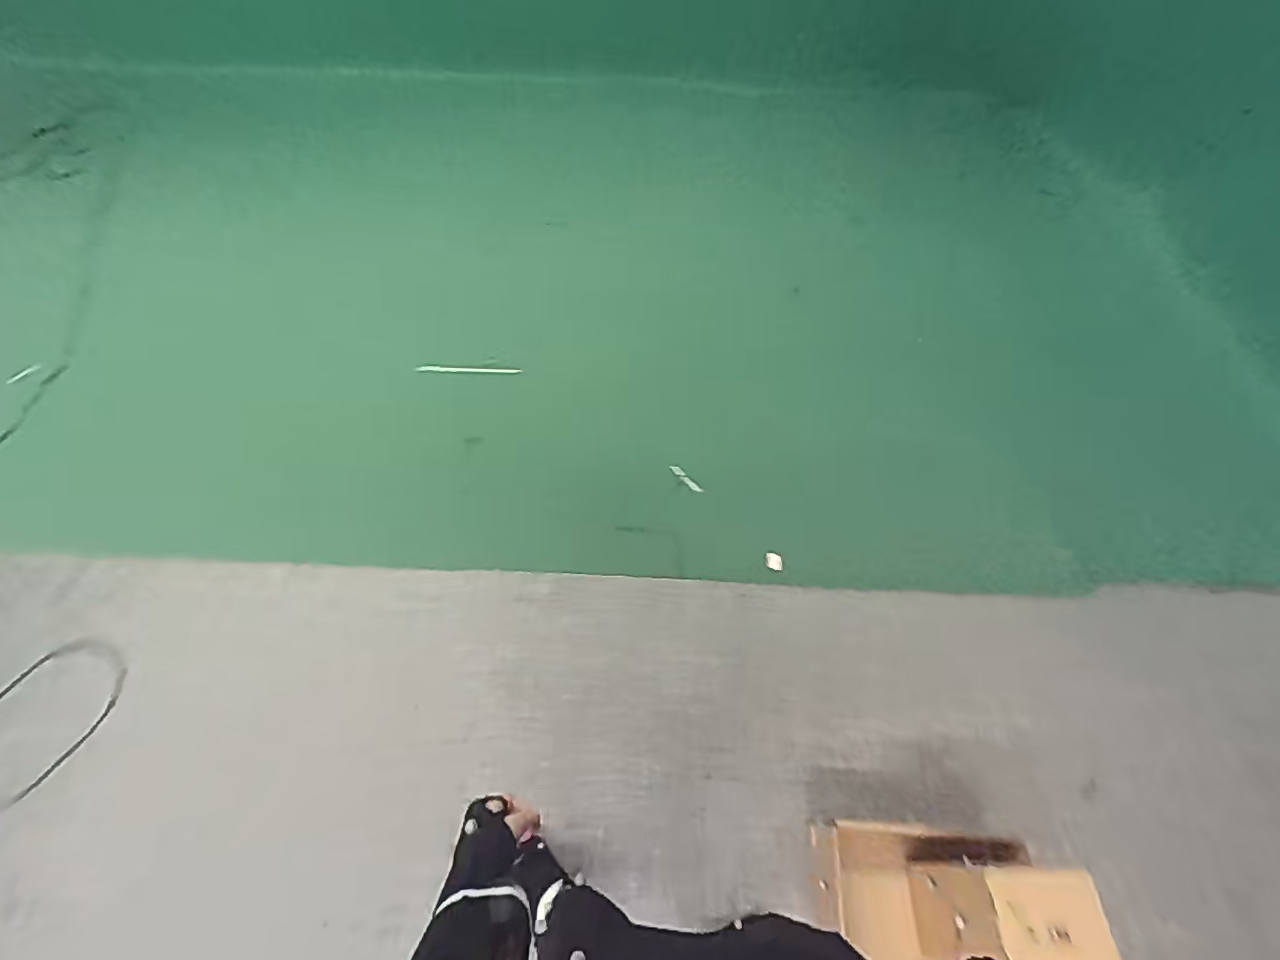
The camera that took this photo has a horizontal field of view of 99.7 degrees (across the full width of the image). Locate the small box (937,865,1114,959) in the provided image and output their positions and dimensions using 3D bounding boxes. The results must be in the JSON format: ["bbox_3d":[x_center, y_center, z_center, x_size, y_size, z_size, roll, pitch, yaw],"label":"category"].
[{"bbox_3d":[0.638,0.752,0.904,0.179,0.176,0.168,1,57,2],"label":"small box"}]
